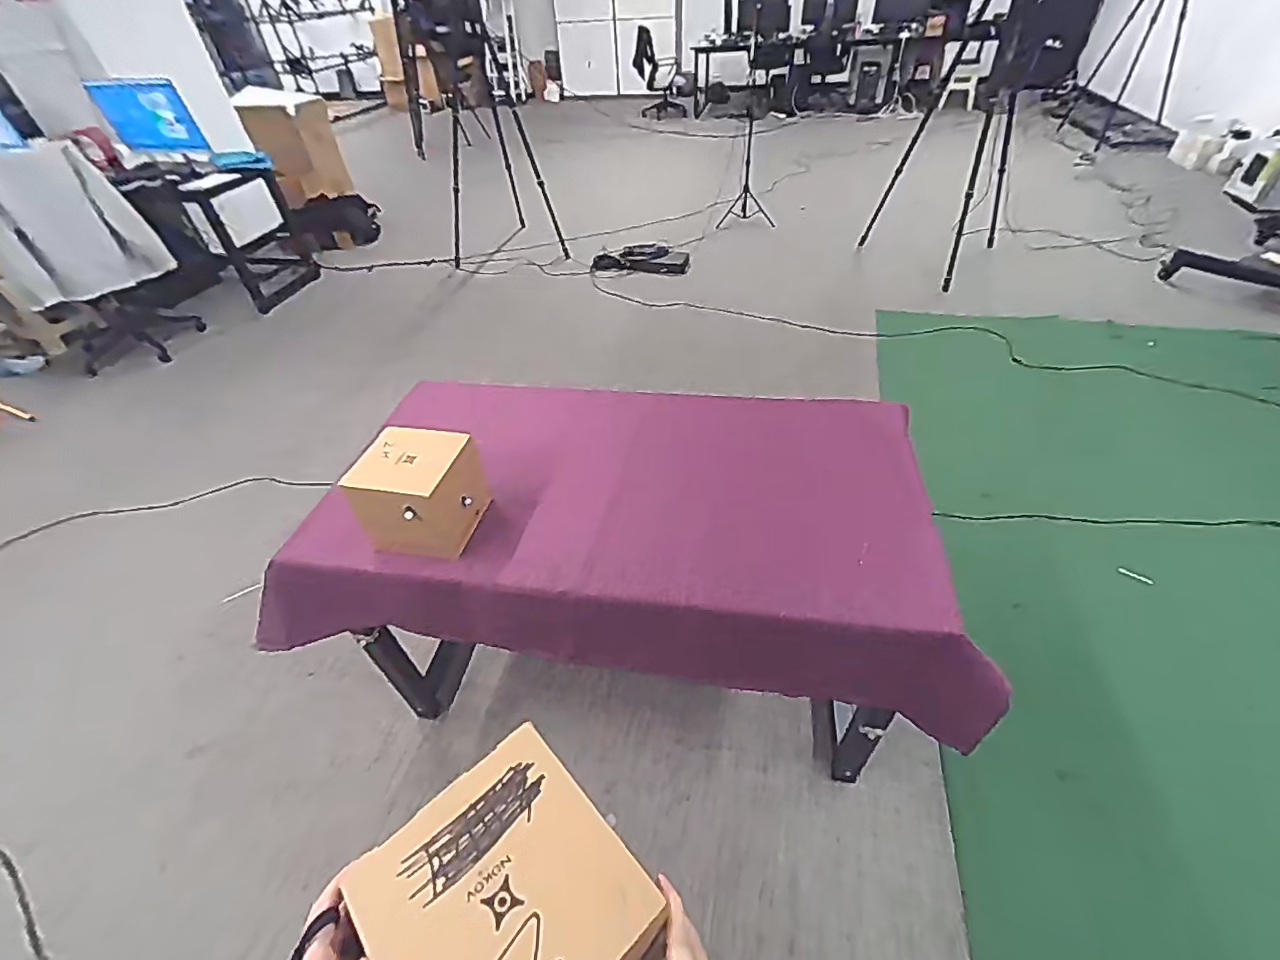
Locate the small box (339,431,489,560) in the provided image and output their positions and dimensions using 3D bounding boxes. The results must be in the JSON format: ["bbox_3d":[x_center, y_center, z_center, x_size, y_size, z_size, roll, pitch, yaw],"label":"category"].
[{"bbox_3d":[-0.405,0.030,1.008,0.179,0.176,0.168,6,43,11],"label":"small box"}]
